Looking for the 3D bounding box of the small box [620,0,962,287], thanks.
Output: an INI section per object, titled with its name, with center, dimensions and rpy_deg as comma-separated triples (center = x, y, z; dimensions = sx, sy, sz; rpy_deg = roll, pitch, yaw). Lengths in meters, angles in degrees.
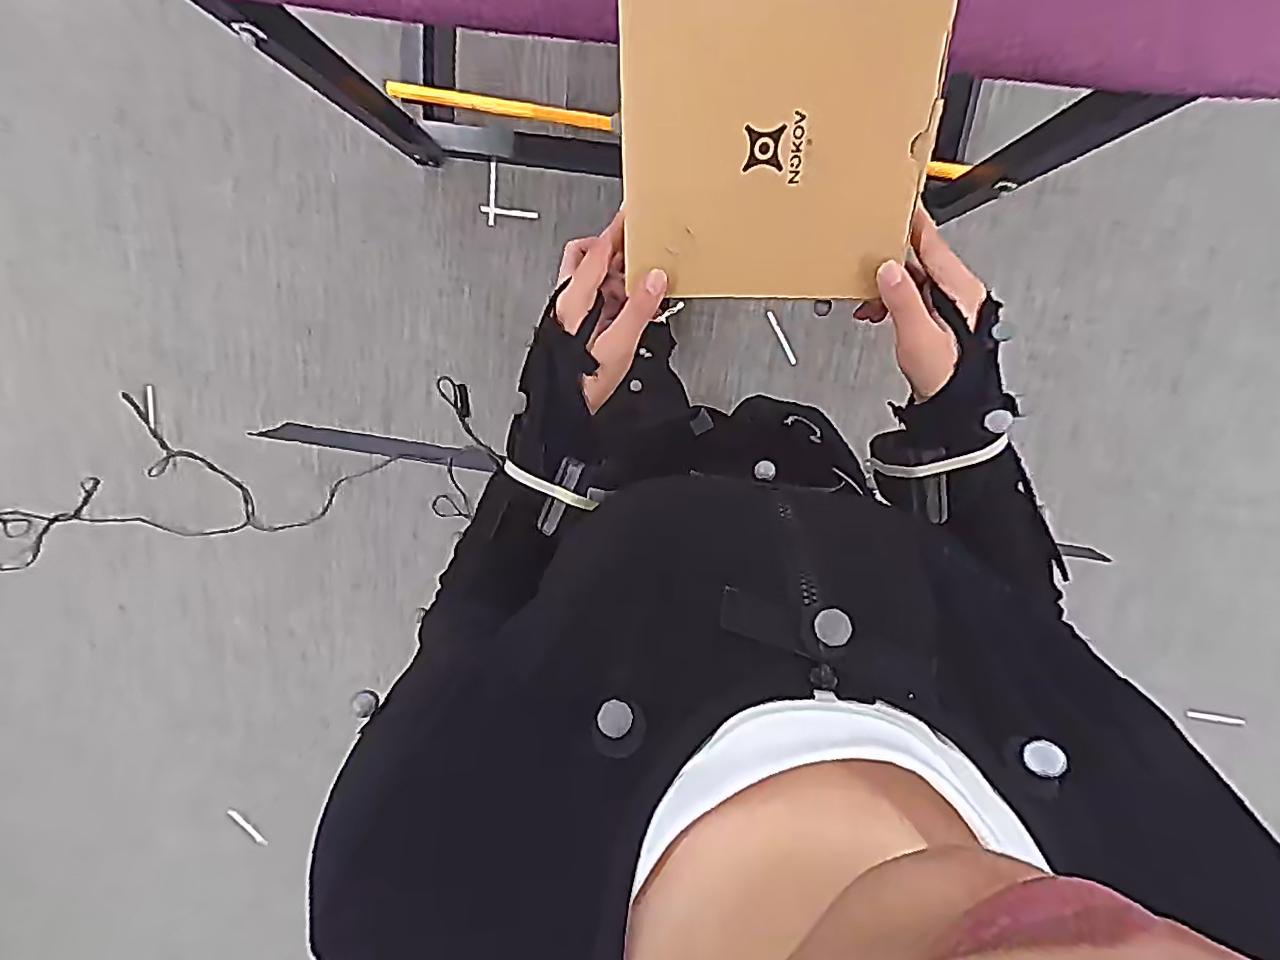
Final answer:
[small box]
center = 0.084, -0.230, 0.376
dimensions = 0.179, 0.176, 0.168
rpy_deg = 2, 117, 4
